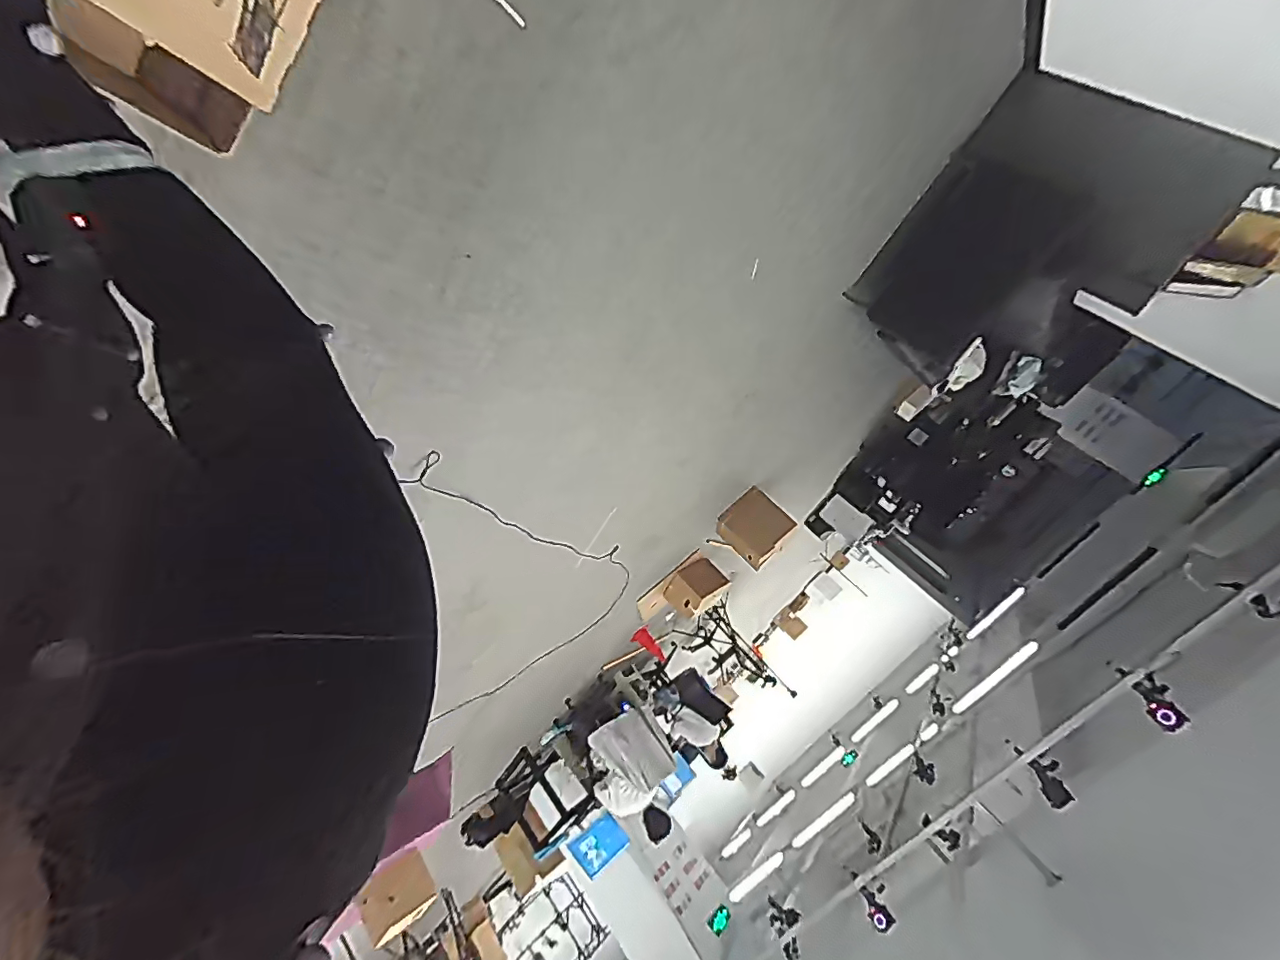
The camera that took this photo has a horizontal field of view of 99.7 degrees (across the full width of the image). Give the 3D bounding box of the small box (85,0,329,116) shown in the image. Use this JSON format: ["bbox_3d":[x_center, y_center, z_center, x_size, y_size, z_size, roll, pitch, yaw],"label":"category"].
[{"bbox_3d":[-0.478,-0.550,0.577,0.168,0.176,0.179,-51,154,15],"label":"small box"}]
